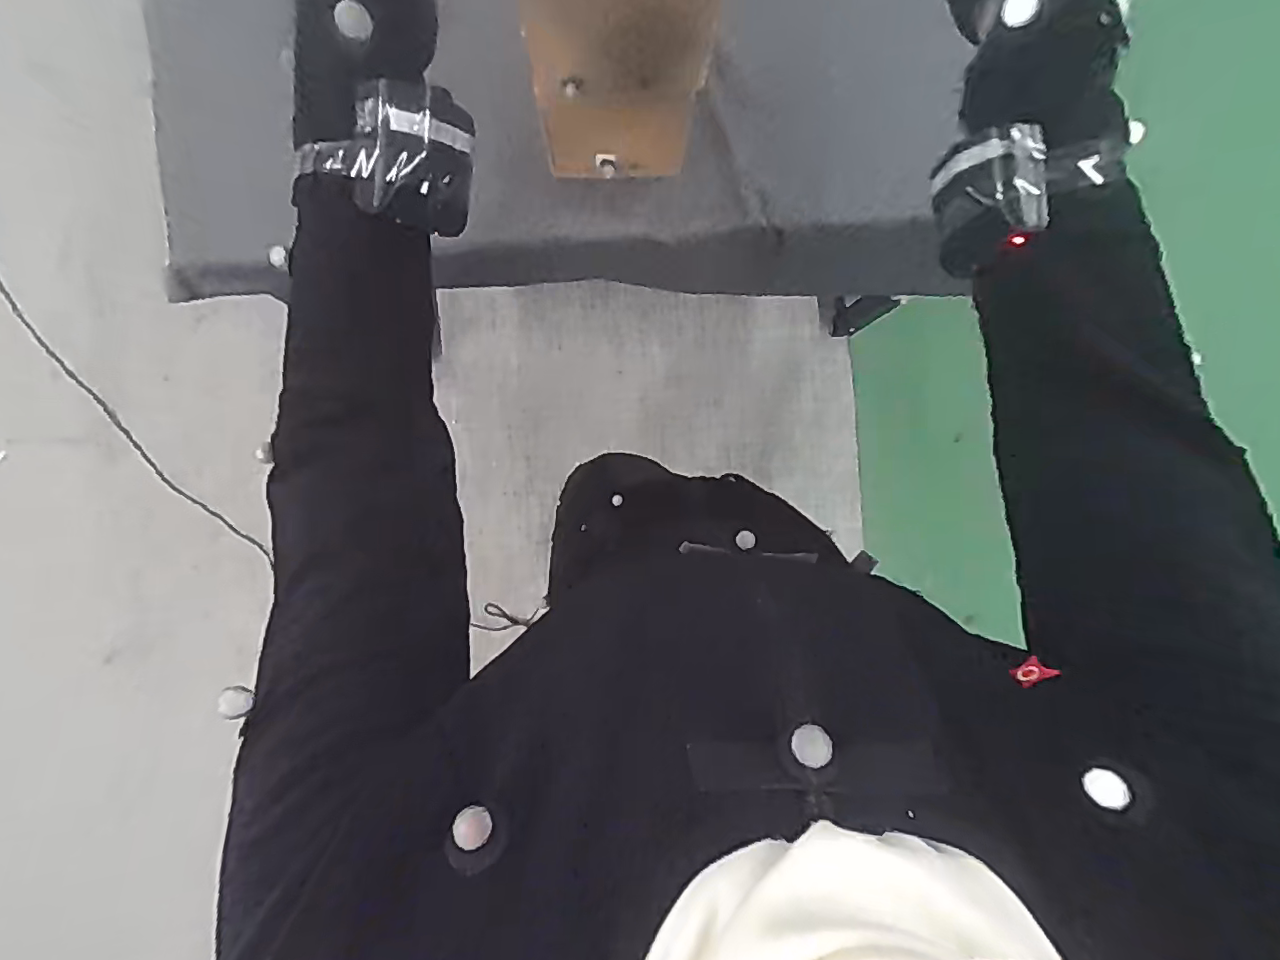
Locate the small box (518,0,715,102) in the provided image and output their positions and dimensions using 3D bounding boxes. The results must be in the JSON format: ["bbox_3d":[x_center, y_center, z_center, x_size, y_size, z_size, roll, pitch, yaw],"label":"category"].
[{"bbox_3d":[-0.025,-0.465,0.469,0.168,0.176,0.179,-7,88,-1],"label":"small box"}]

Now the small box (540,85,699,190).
[{"bbox_3d":[-0.027,-0.473,0.633,0.168,0.176,0.179,-4,90,-1],"label":"small box"}]
